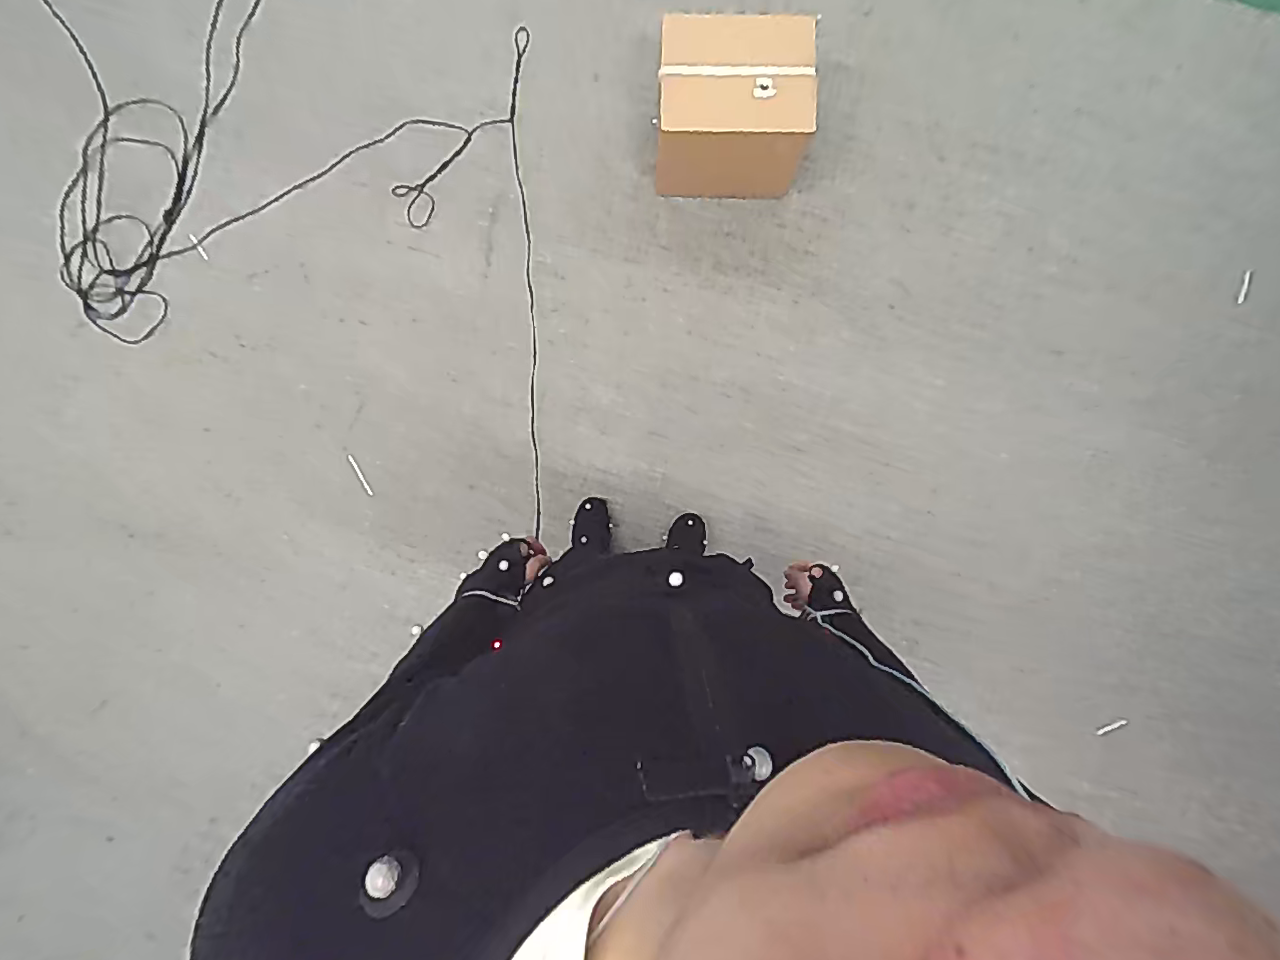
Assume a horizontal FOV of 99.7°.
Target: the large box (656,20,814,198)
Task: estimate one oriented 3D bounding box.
[{"bbox_3d":[0.251,-1.041,1.552,0.408,0.320,0.320,1,88,0],"label":"large box"}]
